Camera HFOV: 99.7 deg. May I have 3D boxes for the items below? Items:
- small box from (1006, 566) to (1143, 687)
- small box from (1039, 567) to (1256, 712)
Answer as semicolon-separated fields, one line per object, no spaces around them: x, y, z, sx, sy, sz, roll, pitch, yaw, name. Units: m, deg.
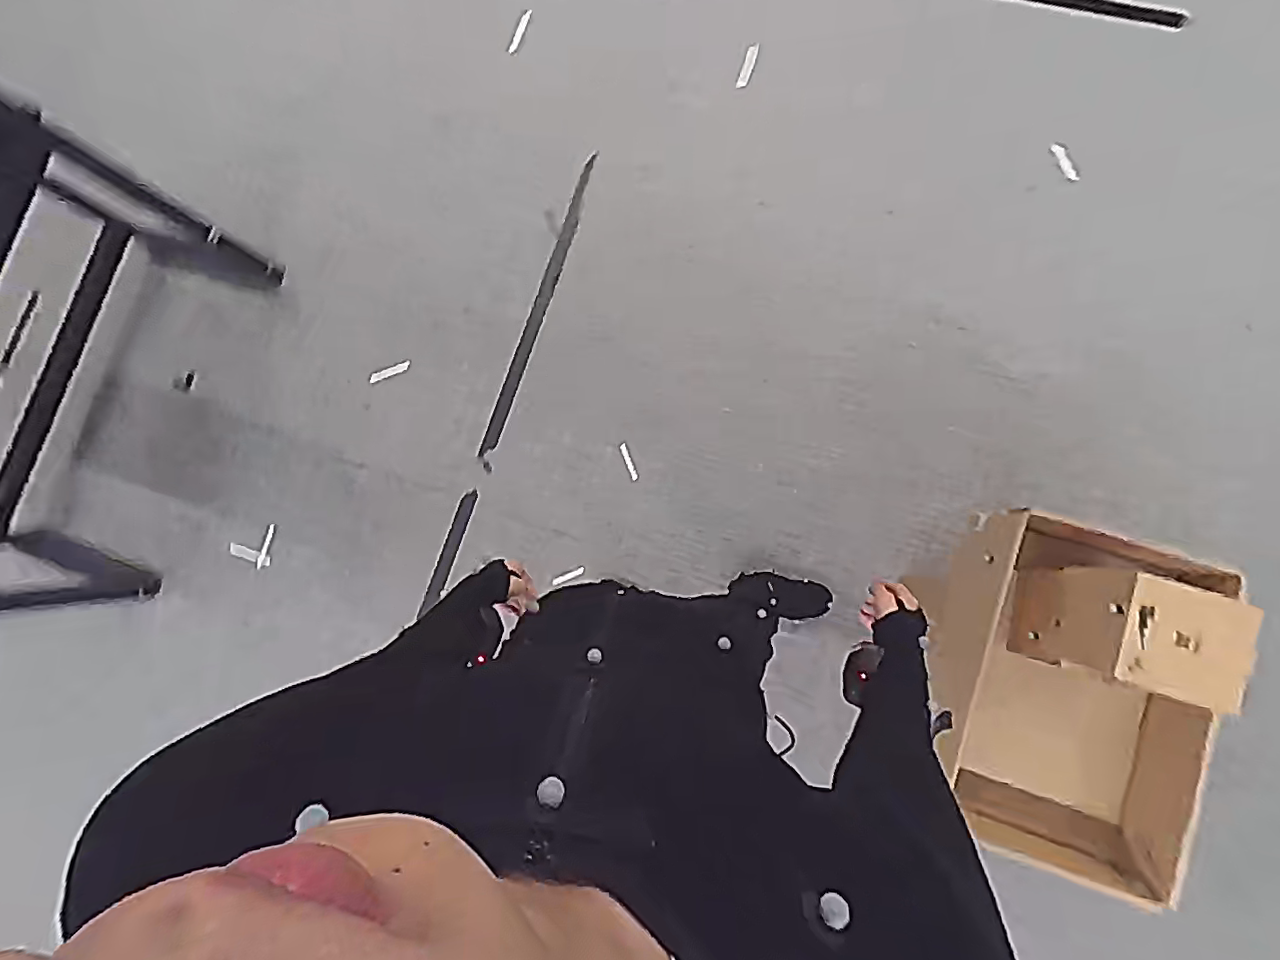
0.844;0.272;1.042;0.168;0.176;0.179;13;84;6;small box
0.812;0.246;0.884;0.179;0.176;0.168;19;85;6;small box
